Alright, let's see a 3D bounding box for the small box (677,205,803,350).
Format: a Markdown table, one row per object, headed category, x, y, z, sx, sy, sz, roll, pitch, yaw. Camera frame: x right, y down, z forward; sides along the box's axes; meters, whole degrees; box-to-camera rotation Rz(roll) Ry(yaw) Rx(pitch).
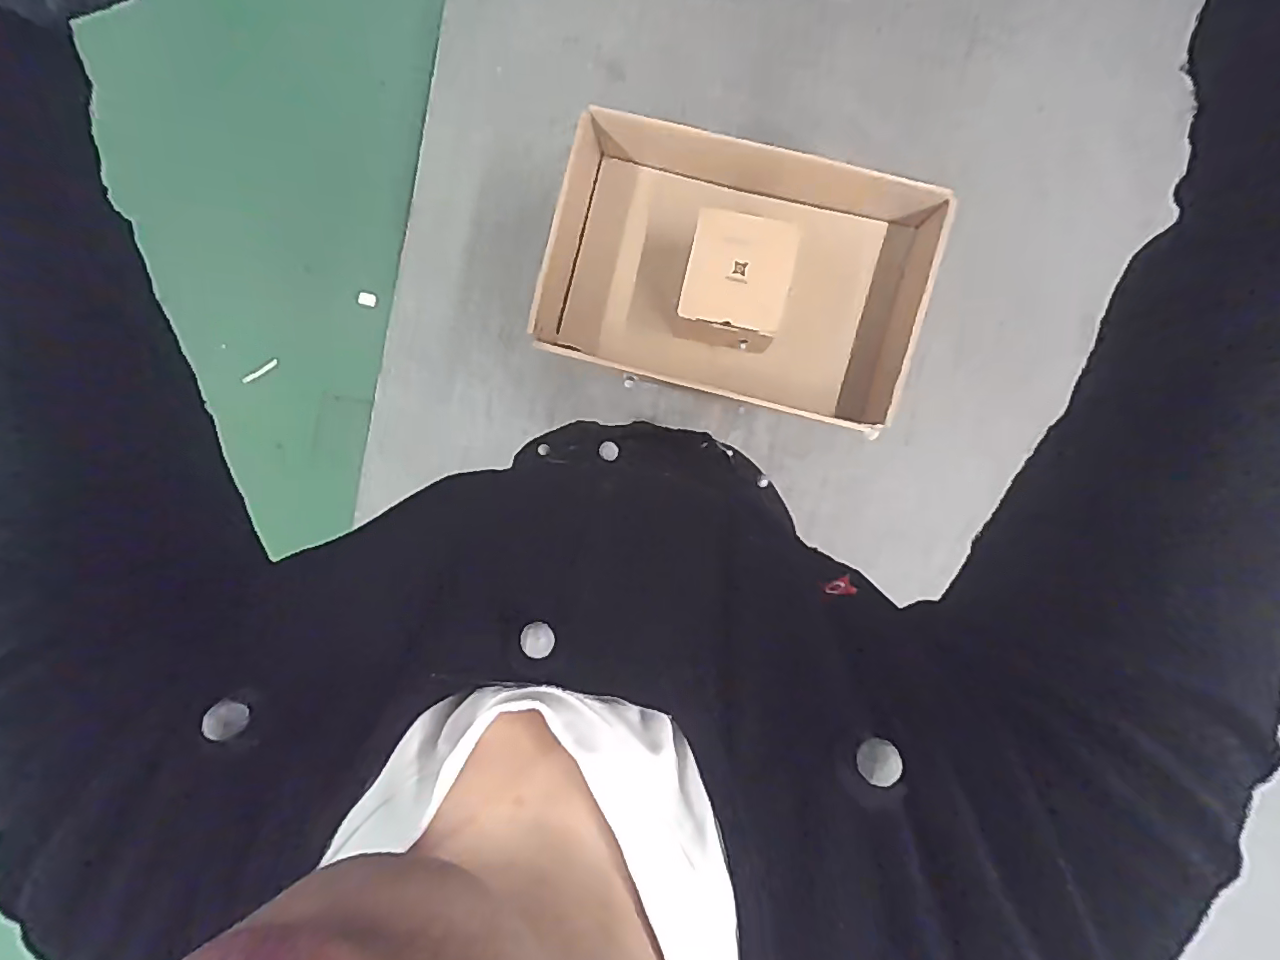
| category | x | y | z | sx | sy | sz | roll | pitch | yaw |
| --- | --- | --- | --- | --- | --- | --- | --- | --- | --- |
| small box | 0.162 | -0.335 | 0.932 | 0.168 | 0.176 | 0.179 | 13 | 93 | 2 |
